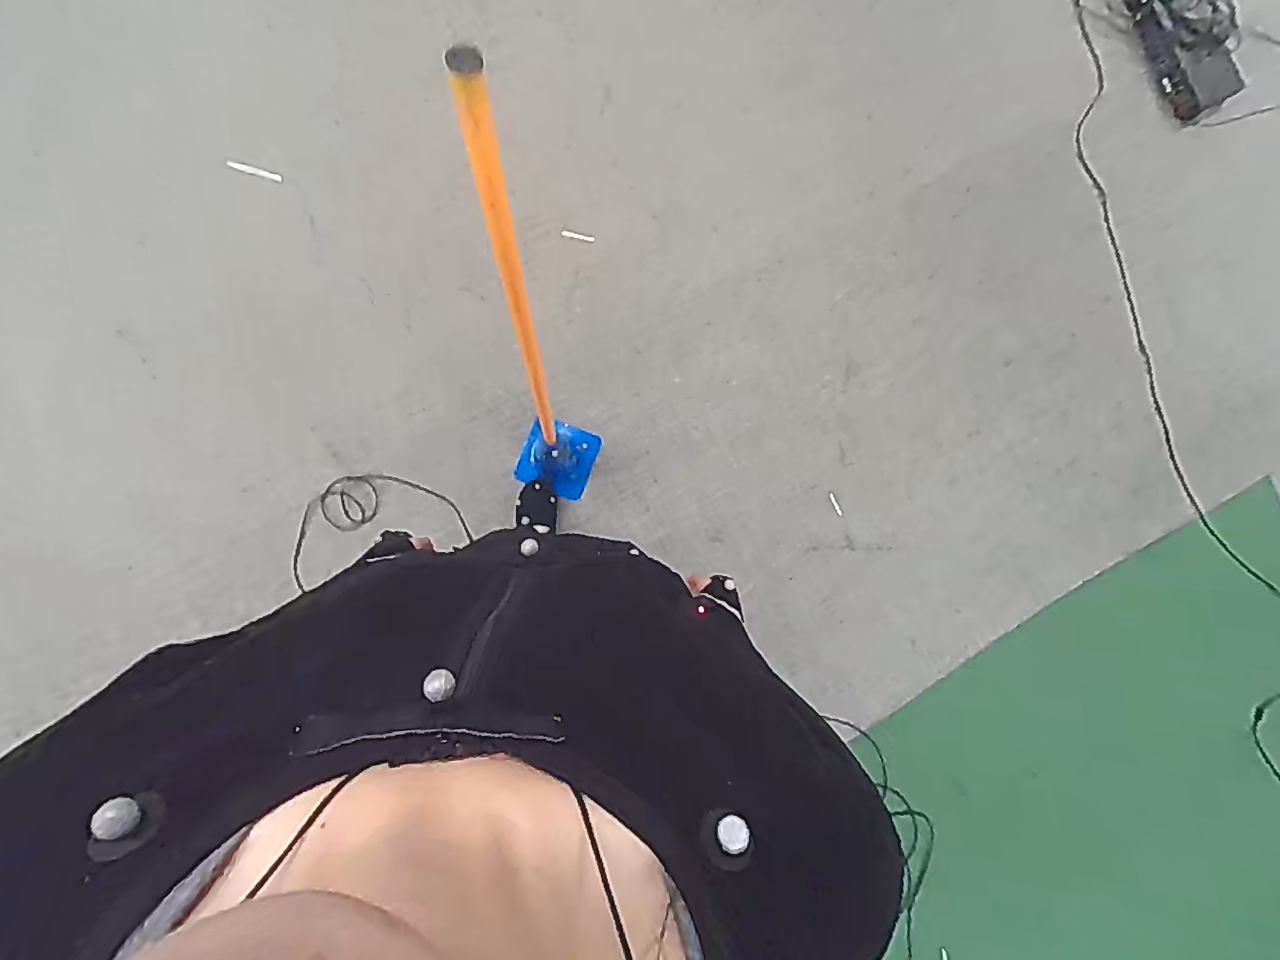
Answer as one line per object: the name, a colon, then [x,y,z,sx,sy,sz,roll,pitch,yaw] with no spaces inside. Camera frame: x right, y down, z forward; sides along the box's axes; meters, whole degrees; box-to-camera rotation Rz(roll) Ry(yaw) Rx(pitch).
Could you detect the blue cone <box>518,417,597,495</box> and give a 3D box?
blue cone: [-0.208,-0.081,1.329,0.192,0.380,0.193,20,83,-5]
